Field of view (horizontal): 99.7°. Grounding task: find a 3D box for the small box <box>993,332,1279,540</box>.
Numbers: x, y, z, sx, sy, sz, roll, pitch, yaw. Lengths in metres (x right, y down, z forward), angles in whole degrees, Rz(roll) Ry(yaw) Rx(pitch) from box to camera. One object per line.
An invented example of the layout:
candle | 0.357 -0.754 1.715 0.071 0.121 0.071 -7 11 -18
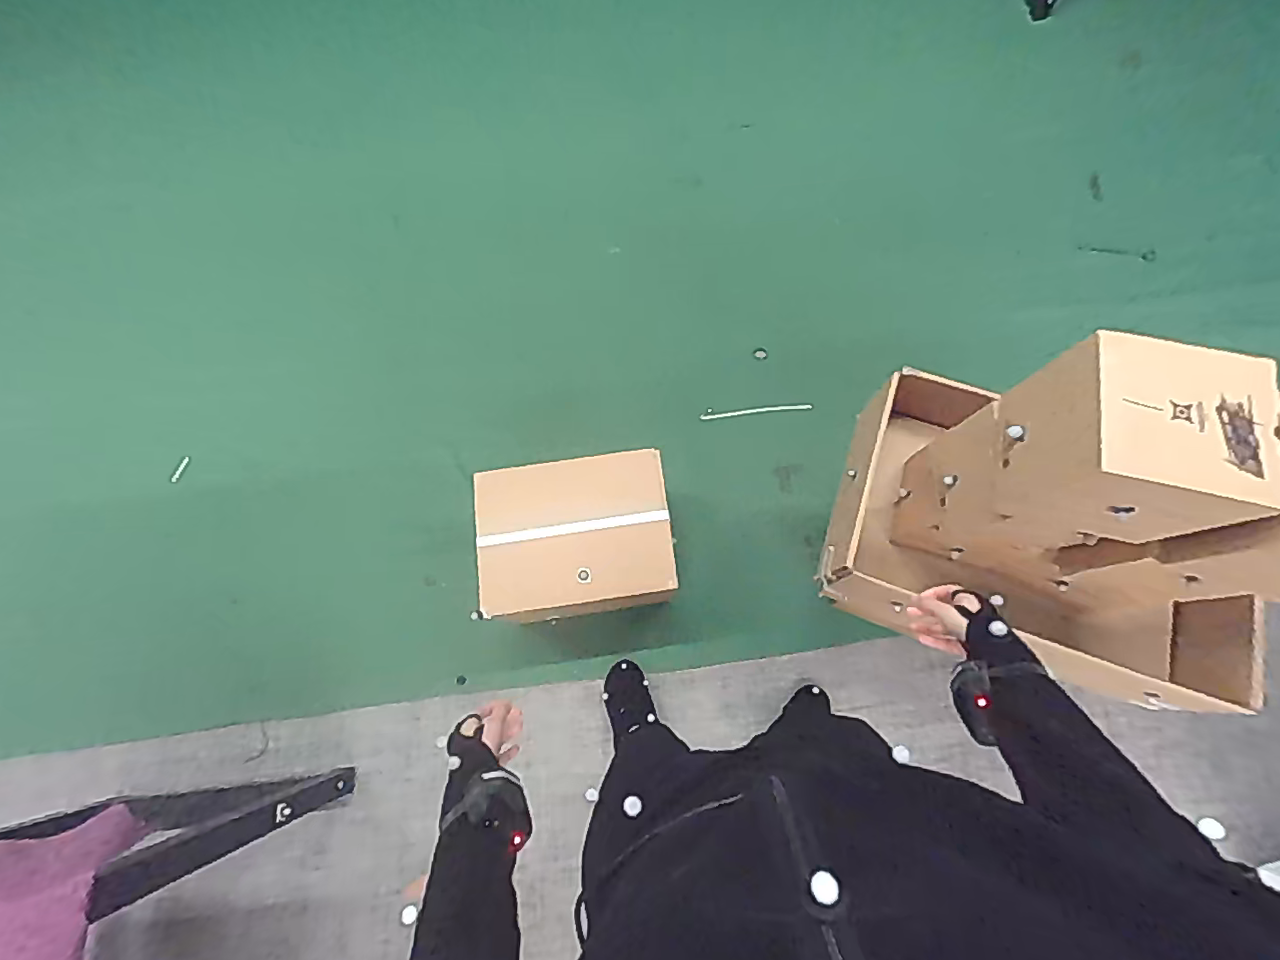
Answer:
small box | 0.543 -0.038 0.614 0.179 0.176 0.168 12 72 6
